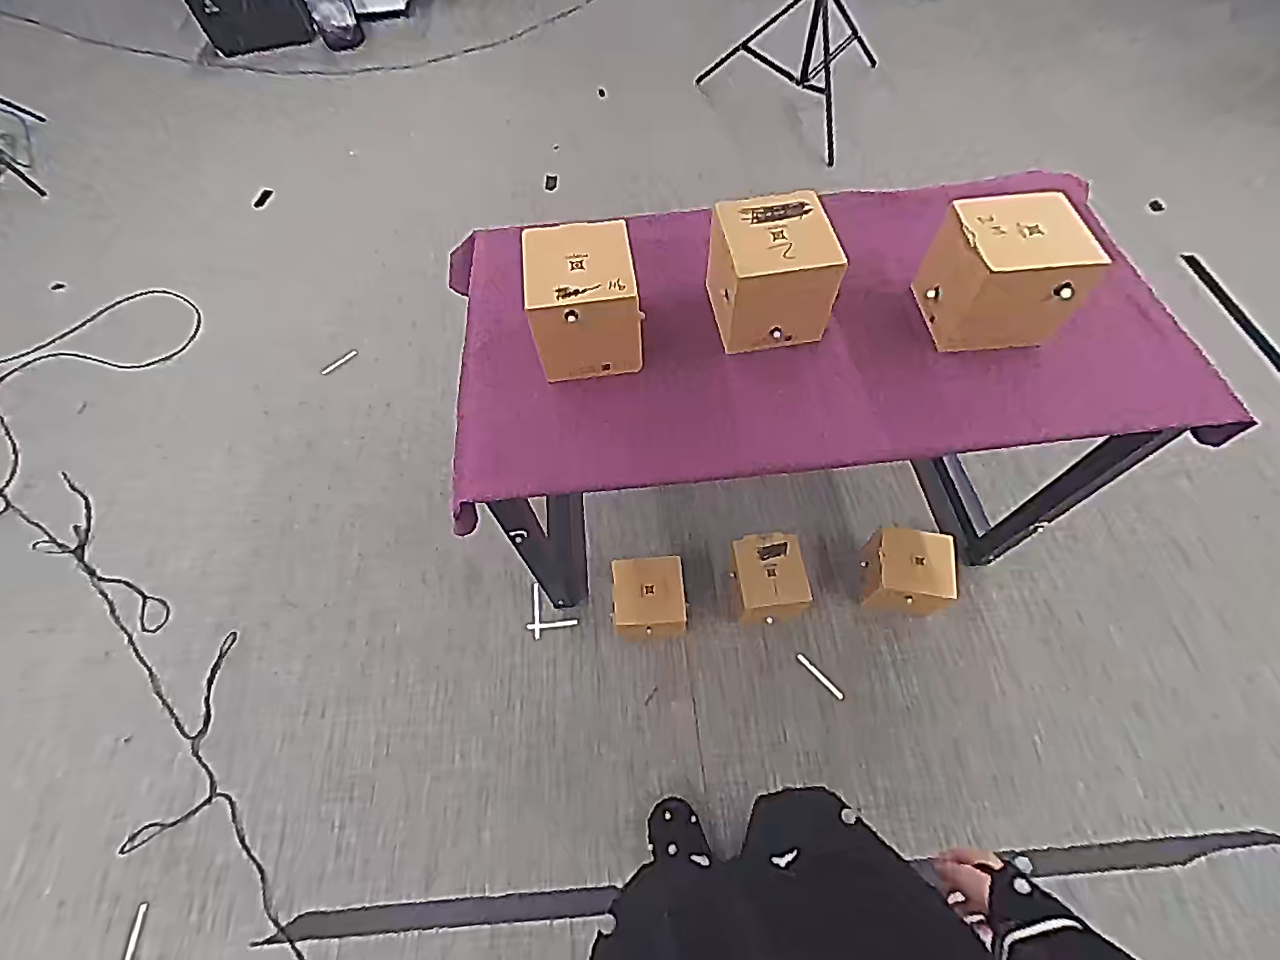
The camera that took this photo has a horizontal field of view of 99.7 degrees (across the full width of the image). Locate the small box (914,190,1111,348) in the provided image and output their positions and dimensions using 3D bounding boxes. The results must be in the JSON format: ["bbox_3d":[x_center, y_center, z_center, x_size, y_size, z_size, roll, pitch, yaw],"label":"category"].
[{"bbox_3d":[0.578,-0.331,0.868,0.179,0.176,0.168,-5,60,1],"label":"small box"}]

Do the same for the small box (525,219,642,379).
[{"bbox_3d":[-0.089,-0.291,0.881,0.168,0.176,0.179,-8,61,-1],"label":"small box"}]

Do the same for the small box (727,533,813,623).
[{"bbox_3d":[0.325,0.255,1.393,0.168,0.176,0.179,-7,62,0],"label":"small box"}]

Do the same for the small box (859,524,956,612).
[{"bbox_3d":[0.681,0.232,1.388,0.179,0.176,0.168,9,63,9],"label":"small box"}]
